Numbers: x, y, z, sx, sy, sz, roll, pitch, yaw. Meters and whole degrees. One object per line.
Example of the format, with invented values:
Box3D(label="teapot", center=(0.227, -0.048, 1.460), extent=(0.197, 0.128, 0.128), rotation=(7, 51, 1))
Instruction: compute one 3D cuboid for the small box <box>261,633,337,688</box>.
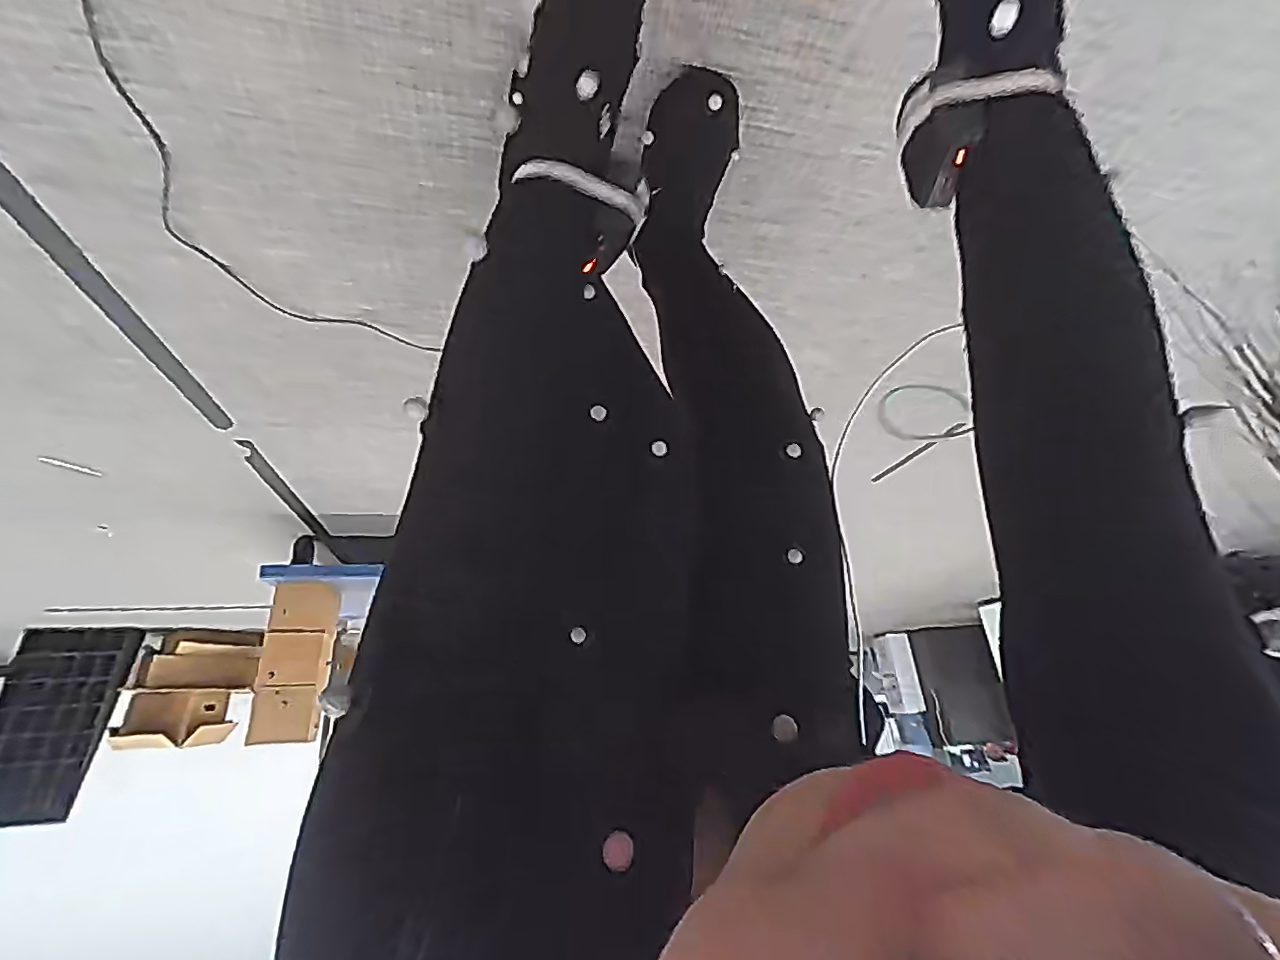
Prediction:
Box3D(label="small box", center=(-1.135, 0.610, 1.815), extent=(0.179, 0.176, 0.168), rotation=(5, 155, -17))

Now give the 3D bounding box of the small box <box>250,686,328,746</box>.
Box3D(label="small box", center=(-1.127, 0.763, 1.752), extent=(0.168, 0.176, 0.179), rotation=(5, 155, -19))
